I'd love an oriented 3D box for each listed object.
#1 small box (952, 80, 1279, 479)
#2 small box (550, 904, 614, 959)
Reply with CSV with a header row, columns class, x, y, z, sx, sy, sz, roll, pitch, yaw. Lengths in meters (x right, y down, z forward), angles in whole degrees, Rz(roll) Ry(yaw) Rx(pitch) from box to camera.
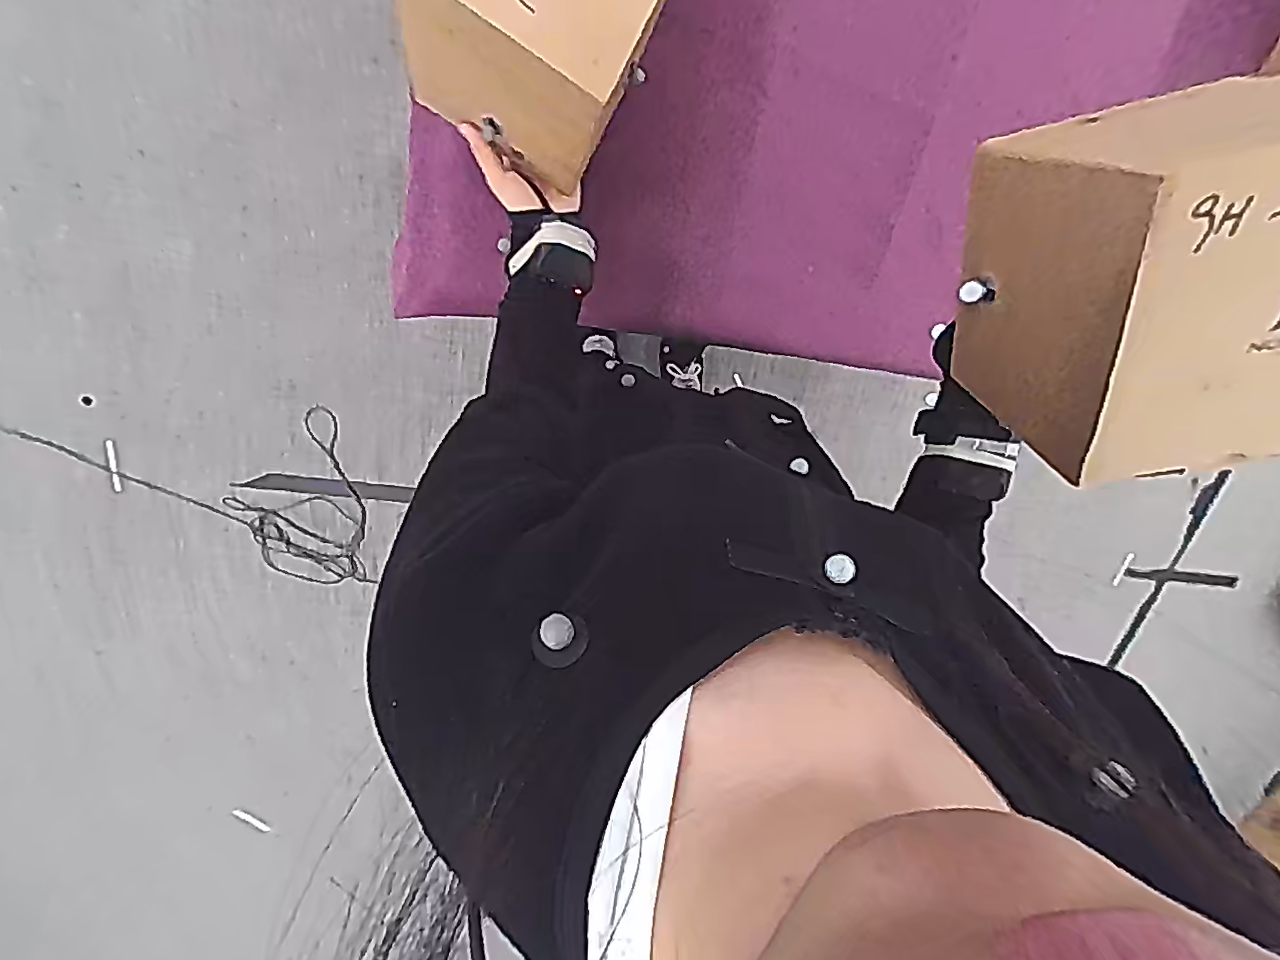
class,x,y,z,sx,sy,sz,roll,pitch,yaw
small box,0.323,-0.129,0.341,0.168,0.176,0.179,-11,125,7
small box,-0.192,1.528,1.769,0.179,0.176,0.168,14,110,-13
